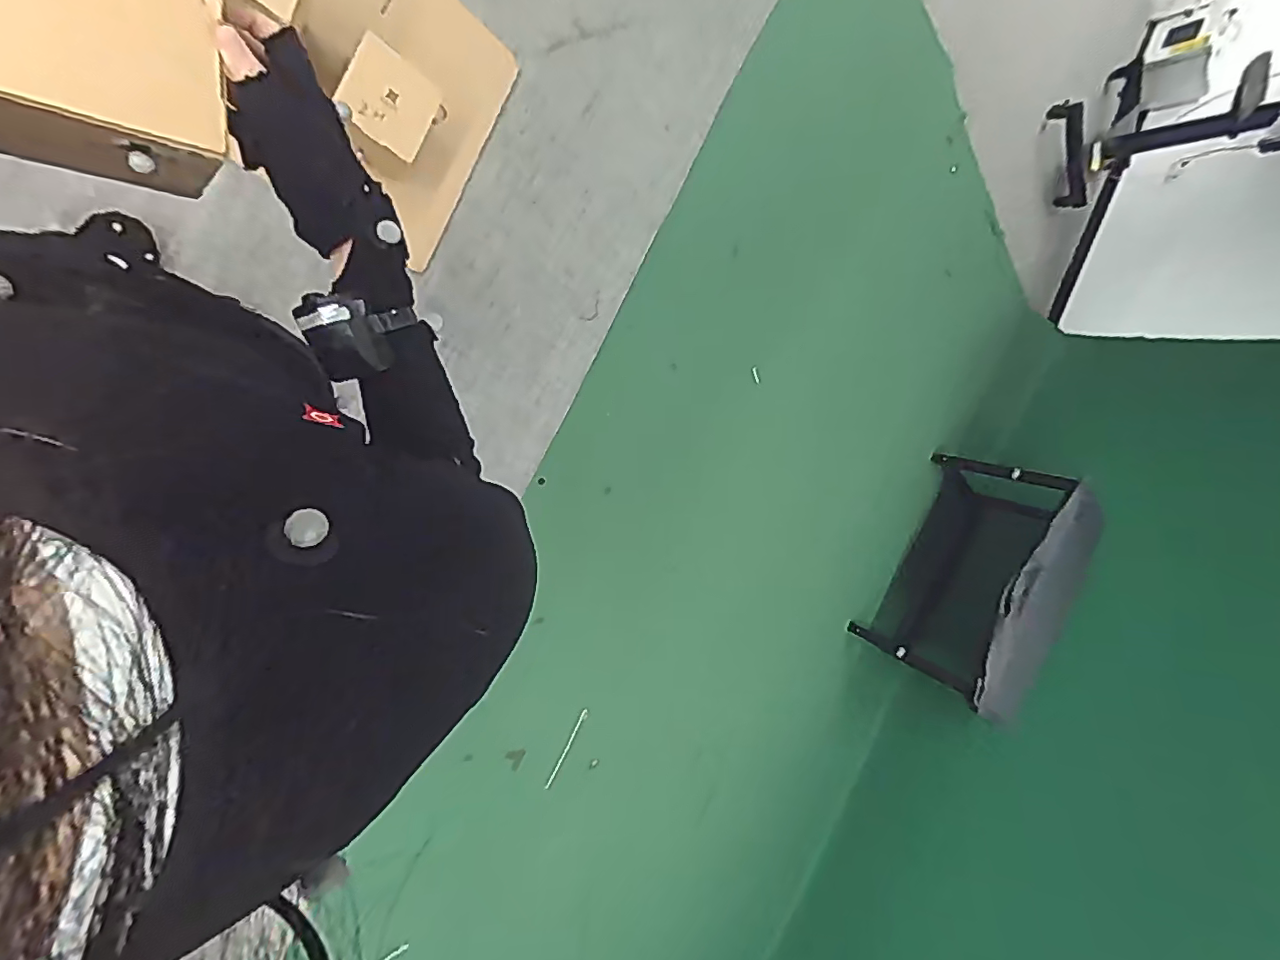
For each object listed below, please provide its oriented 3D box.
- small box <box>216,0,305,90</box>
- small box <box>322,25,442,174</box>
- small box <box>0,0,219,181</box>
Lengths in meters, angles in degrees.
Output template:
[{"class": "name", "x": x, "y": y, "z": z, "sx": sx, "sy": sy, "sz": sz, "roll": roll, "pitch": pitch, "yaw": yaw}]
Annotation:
[{"class": "small box", "x": -0.733, "y": -0.872, "z": 0.993, "sx": 0.168, "sy": 0.176, "sz": 0.179, "roll": 21, "pitch": 90, "yaw": -39}, {"class": "small box", "x": -0.556, "y": -0.796, "z": 1.154, "sx": 0.168, "sy": 0.176, "sz": 0.179, "roll": 26, "pitch": 87, "yaw": -38}, {"class": "small box", "x": -0.360, "y": -0.291, "z": 0.306, "sx": 0.179, "sy": 0.176, "sz": 0.168, "roll": -5, "pitch": 106, "yaw": -44}]
